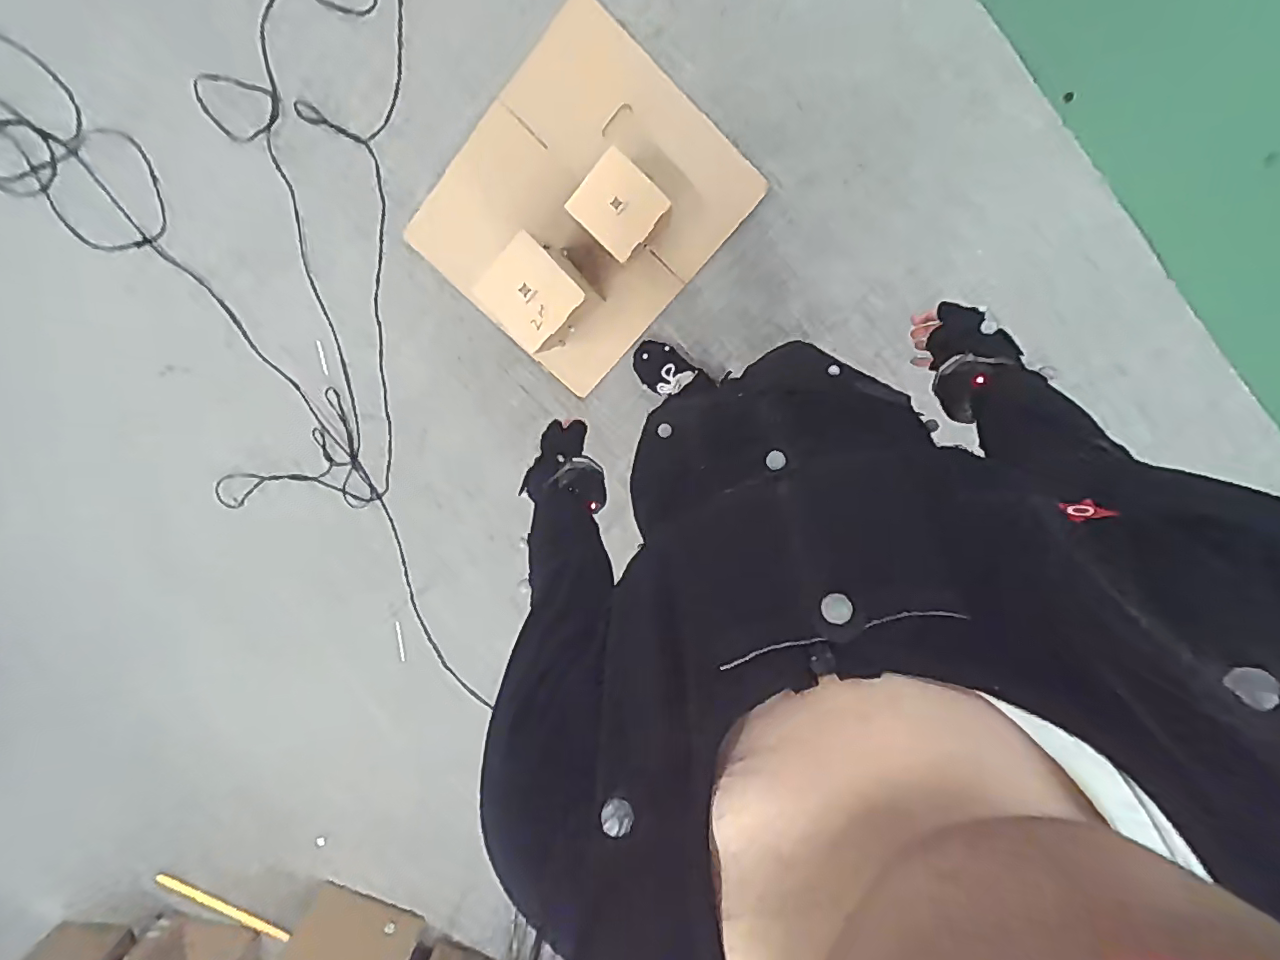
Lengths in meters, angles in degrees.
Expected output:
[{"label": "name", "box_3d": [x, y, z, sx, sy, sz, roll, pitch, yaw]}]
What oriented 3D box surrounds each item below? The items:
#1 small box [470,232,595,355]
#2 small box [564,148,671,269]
[{"label": "small box", "box_3d": [-0.217, -0.385, 1.142, 0.168, 0.176, 0.179, -42, 100, 14]}, {"label": "small box", "box_3d": [-0.046, -0.607, 1.242, 0.179, 0.176, 0.168, 41, 104, -9]}]
